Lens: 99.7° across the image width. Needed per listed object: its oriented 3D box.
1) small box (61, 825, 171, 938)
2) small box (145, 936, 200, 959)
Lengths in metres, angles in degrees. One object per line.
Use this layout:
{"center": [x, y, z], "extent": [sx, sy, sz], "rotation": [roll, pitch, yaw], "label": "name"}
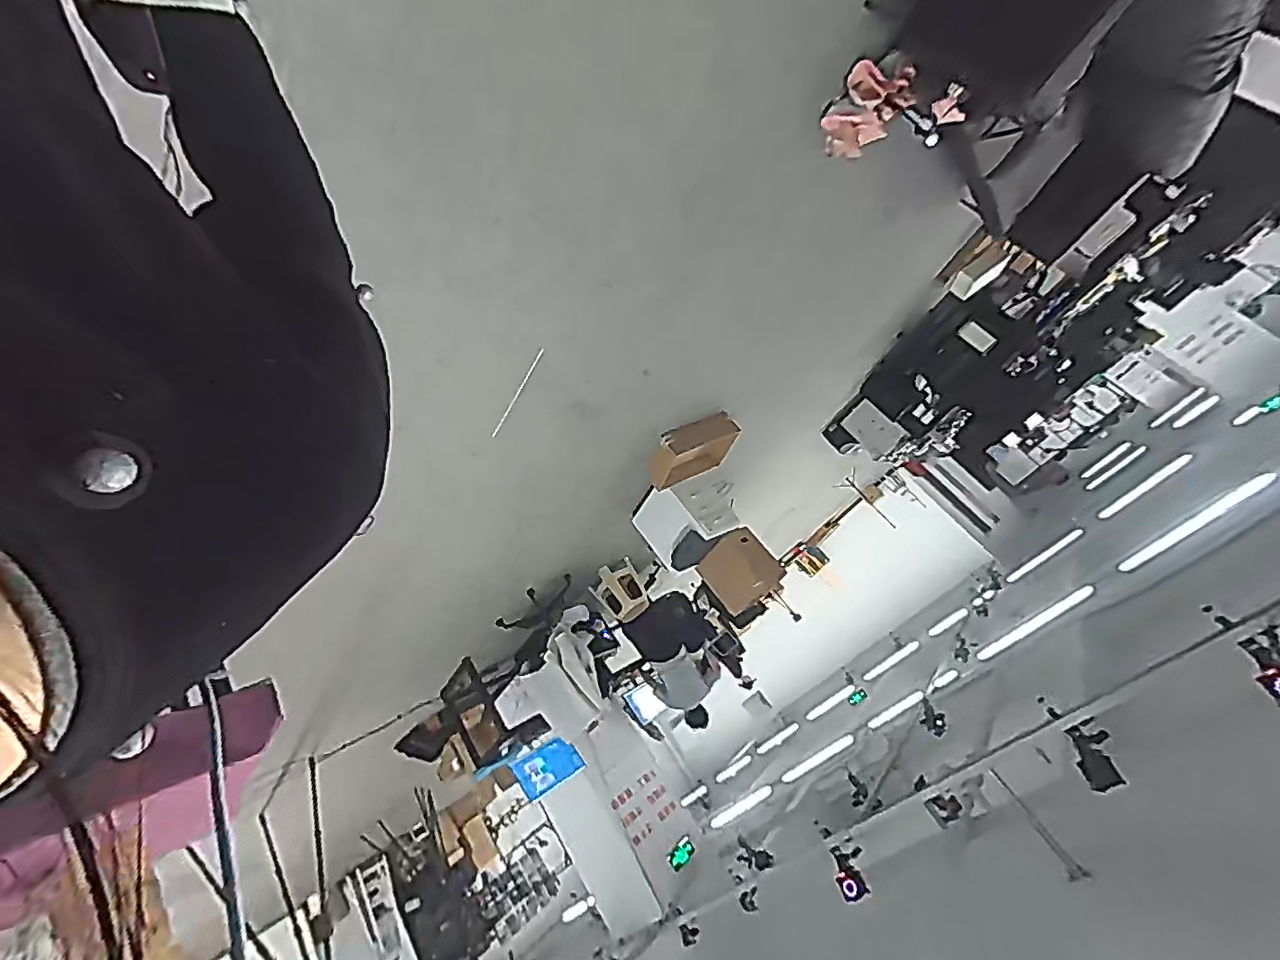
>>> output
{"center": [-1.490, 1.127, 1.536], "extent": [0.168, 0.176, 0.179], "rotation": [-47, 156, 18], "label": "small box"}
{"center": [-1.300, 1.373, 1.427], "extent": [0.168, 0.176, 0.179], "rotation": [-43, 157, 12], "label": "small box"}
